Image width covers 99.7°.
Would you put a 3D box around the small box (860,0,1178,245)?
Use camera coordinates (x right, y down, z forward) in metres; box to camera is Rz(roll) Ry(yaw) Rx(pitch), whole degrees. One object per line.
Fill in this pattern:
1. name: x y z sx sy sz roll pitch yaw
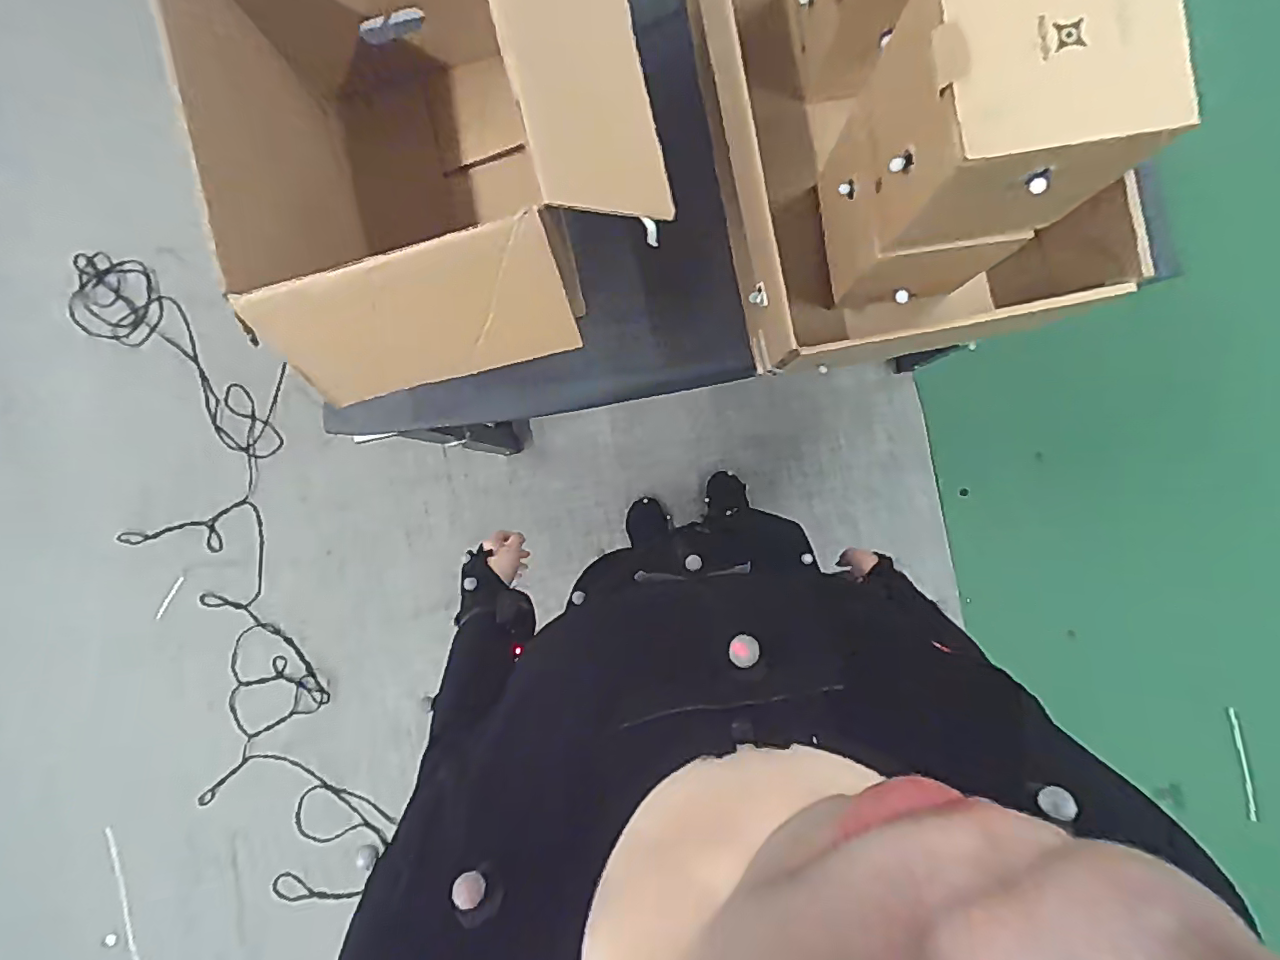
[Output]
1. small box: 0.319 -0.336 0.496 0.179 0.176 0.168 -8 91 2
